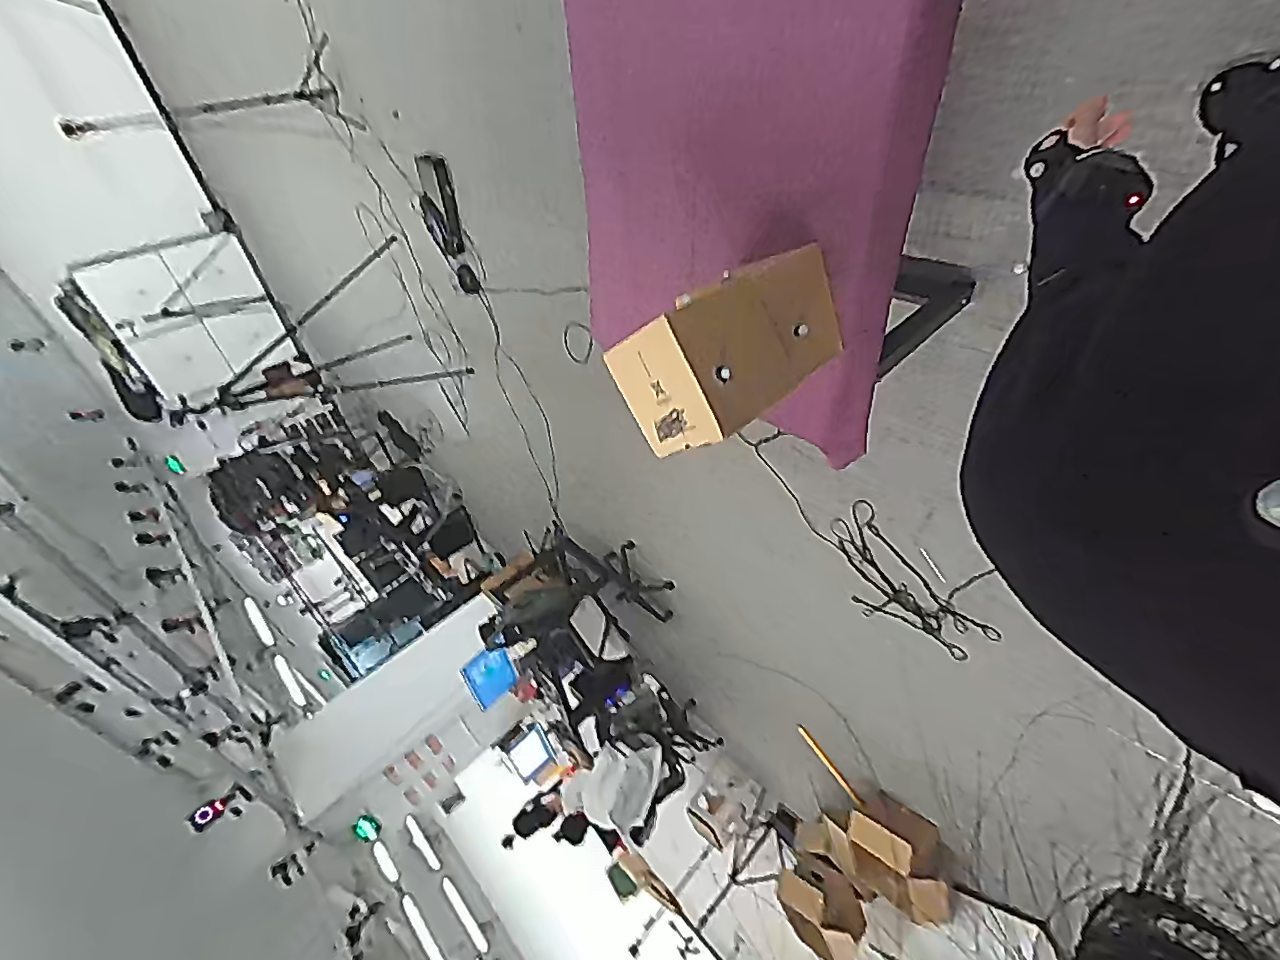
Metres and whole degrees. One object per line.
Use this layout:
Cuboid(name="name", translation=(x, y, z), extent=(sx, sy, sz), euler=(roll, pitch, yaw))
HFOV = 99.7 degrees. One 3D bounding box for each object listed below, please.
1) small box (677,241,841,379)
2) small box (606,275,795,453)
Cuboid(name="small box", translation=(0.195, -0.252, 0.863), extent=(0.168, 0.176, 0.179), euler=(7, 126, 53))
Cuboid(name="small box", translation=(0.089, -0.161, 0.773), extent=(0.168, 0.176, 0.179), euler=(-12, 109, 58))
